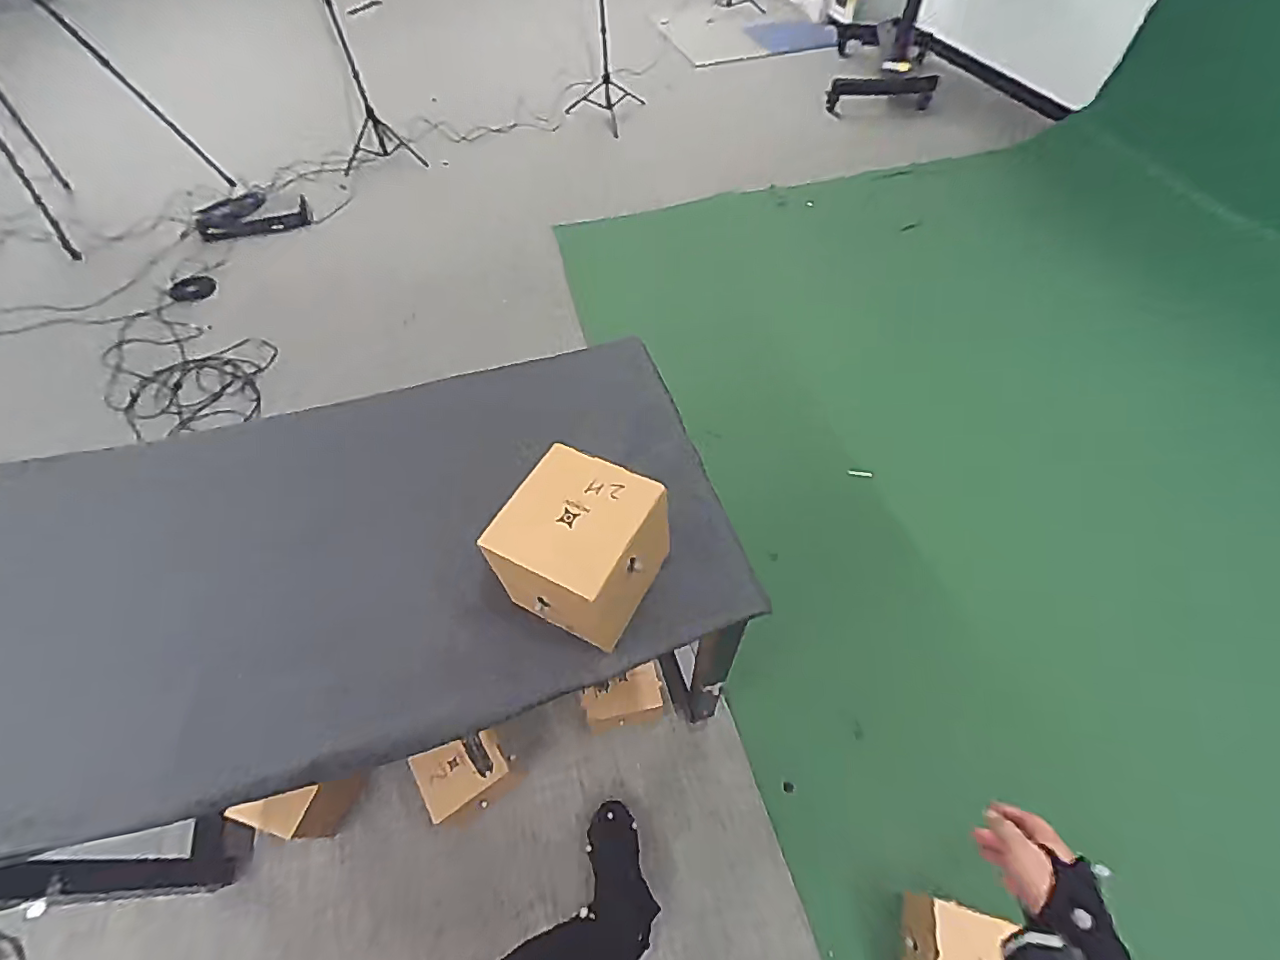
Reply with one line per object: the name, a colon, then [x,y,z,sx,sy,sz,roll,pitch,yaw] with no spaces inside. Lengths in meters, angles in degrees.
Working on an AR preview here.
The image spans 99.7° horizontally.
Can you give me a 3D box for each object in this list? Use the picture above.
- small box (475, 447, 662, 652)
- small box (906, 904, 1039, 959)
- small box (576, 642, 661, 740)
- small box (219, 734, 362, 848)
small box: [-0.076,0.094,0.704,0.168,0.176,0.179,22,58,19]
small box: [0.606,0.918,1.002,0.179,0.176,0.168,13,56,11]
small box: [-0.051,0.513,1.305,0.179,0.176,0.168,-10,55,-7]
small box: [-0.757,0.693,1.198,0.168,0.176,0.179,12,55,10]
